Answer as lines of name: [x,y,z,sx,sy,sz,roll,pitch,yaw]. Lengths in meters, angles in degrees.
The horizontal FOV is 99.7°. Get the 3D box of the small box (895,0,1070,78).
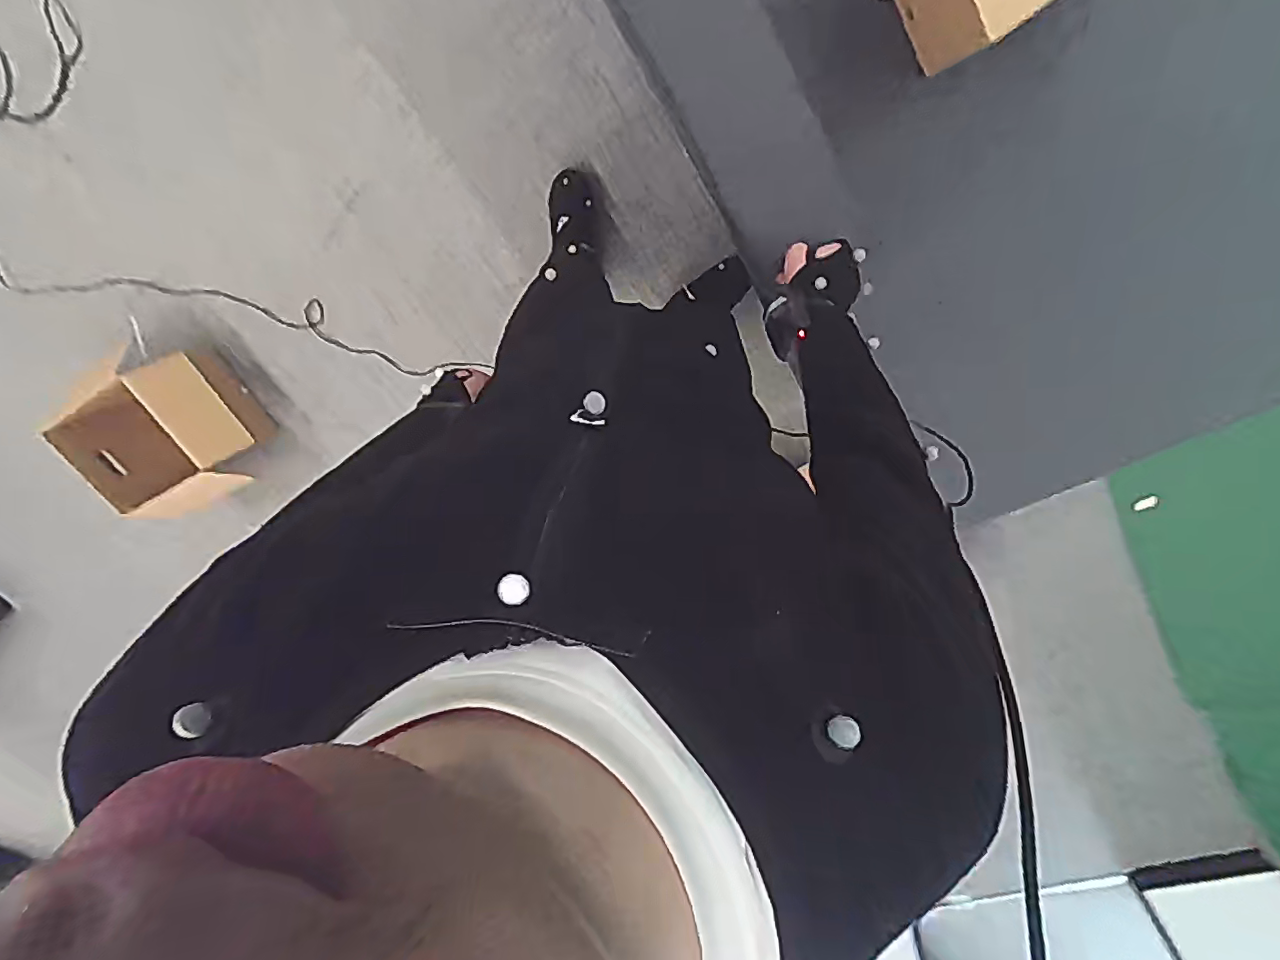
small box: [0.319,-0.481,0.445,0.179,0.176,0.168,-29,110,23]
